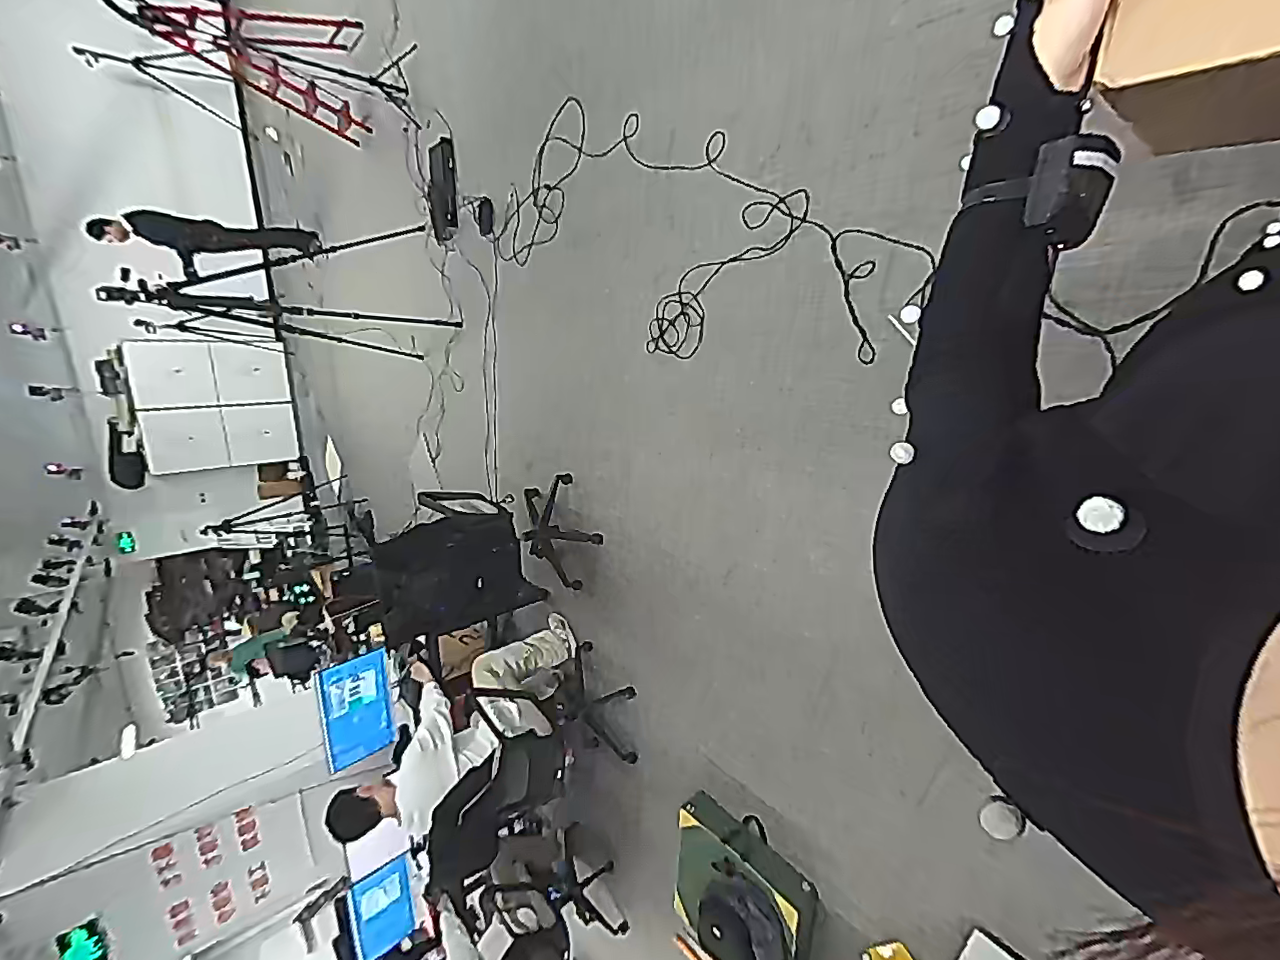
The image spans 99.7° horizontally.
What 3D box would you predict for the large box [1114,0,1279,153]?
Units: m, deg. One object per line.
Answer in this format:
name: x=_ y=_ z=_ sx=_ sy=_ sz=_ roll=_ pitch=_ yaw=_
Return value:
large box: x=0.572 y=-0.419 z=0.298 sx=0.408 sy=0.320 sz=0.320 roll=17 pitch=116 yaw=44
